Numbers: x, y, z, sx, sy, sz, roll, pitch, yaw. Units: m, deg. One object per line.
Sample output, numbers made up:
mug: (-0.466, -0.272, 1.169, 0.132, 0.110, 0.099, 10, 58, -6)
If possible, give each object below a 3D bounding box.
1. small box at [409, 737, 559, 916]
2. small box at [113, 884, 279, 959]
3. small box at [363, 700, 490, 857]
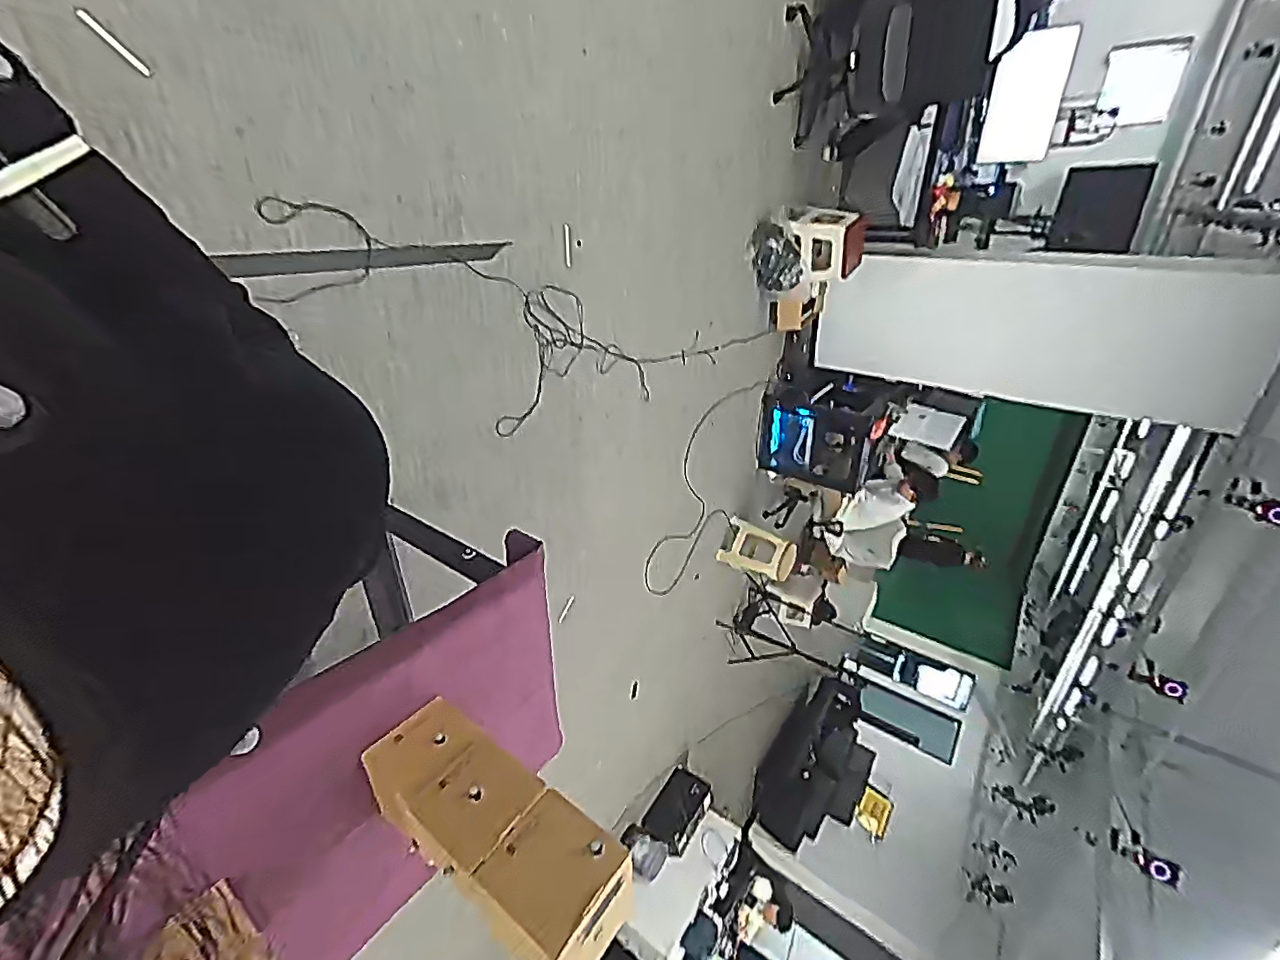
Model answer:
small box: (-0.266, 0.578, 0.929, 0.168, 0.176, 0.179, -37, 134, -42)
small box: (-0.625, 0.730, 0.769, 0.168, 0.176, 0.179, -31, 131, -45)
small box: (-0.395, 0.551, 1.029, 0.168, 0.176, 0.179, -33, 132, -45)
